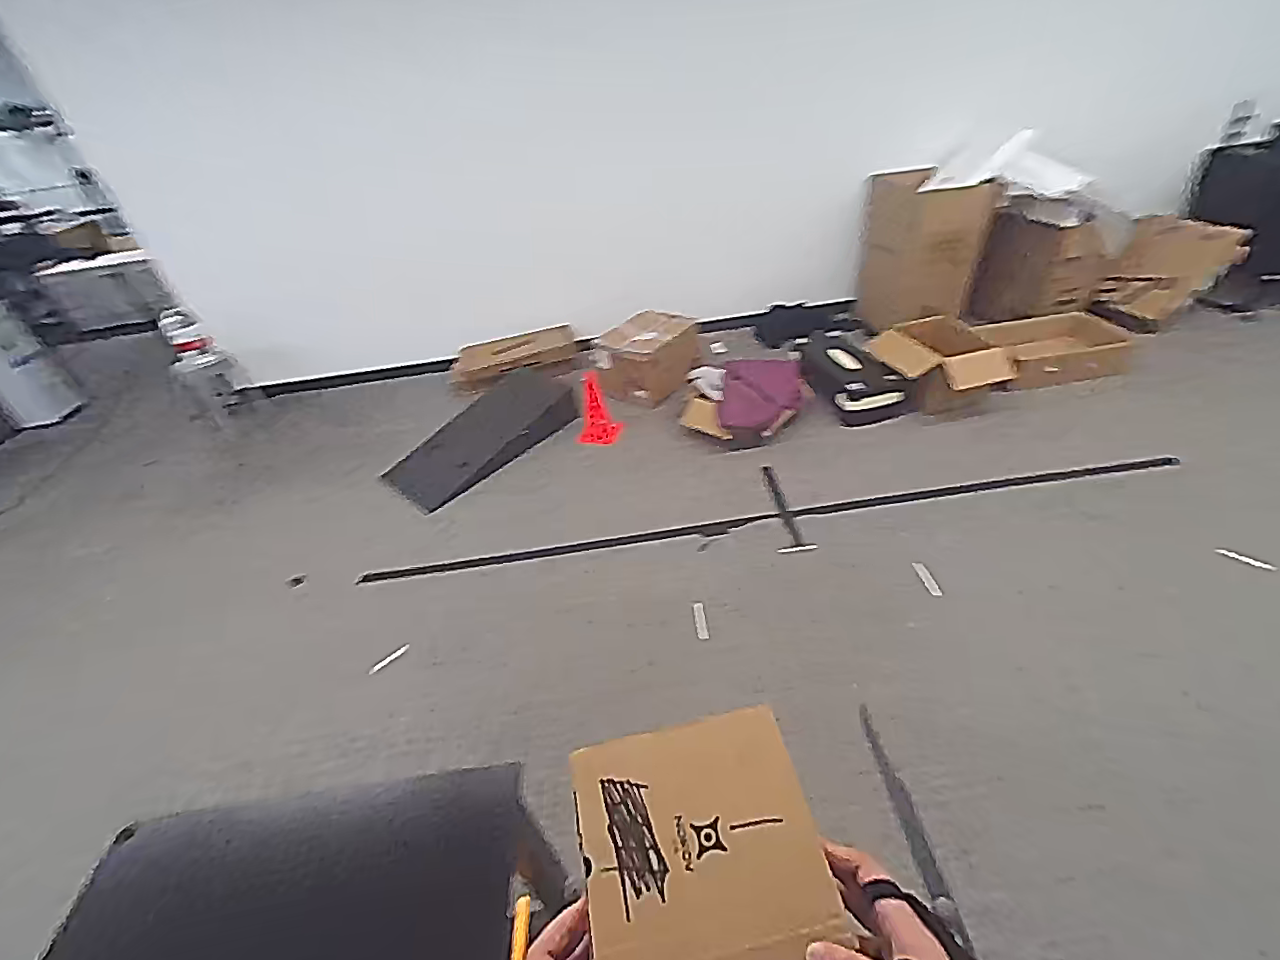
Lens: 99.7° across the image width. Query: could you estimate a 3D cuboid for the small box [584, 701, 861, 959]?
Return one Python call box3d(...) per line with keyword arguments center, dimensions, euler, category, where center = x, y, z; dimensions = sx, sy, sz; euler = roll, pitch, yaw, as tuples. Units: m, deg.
box3d(center=(0.058, 0.319, 0.463), dimensions=(0.179, 0.176, 0.168), euler=(-11, 45, -4), category="small box")
